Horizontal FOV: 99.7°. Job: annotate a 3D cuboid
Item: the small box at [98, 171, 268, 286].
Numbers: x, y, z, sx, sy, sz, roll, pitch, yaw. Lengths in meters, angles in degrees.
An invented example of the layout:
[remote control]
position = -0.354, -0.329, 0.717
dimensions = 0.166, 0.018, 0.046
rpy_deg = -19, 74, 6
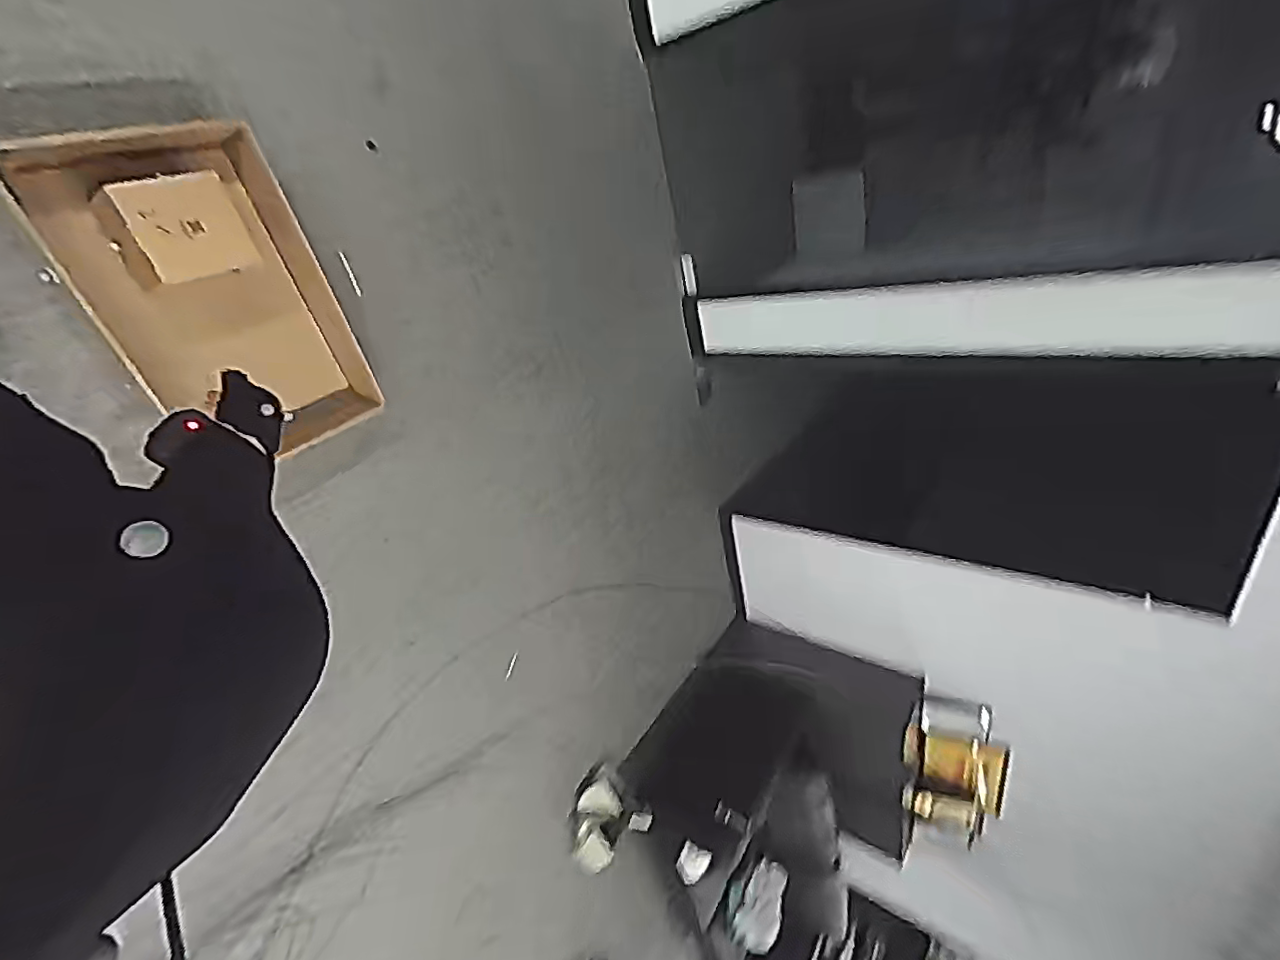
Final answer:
[small box]
position = -0.871, -0.477, 1.033
dimensions = 0.179, 0.176, 0.168
rpy_deg = -40, 129, -40
